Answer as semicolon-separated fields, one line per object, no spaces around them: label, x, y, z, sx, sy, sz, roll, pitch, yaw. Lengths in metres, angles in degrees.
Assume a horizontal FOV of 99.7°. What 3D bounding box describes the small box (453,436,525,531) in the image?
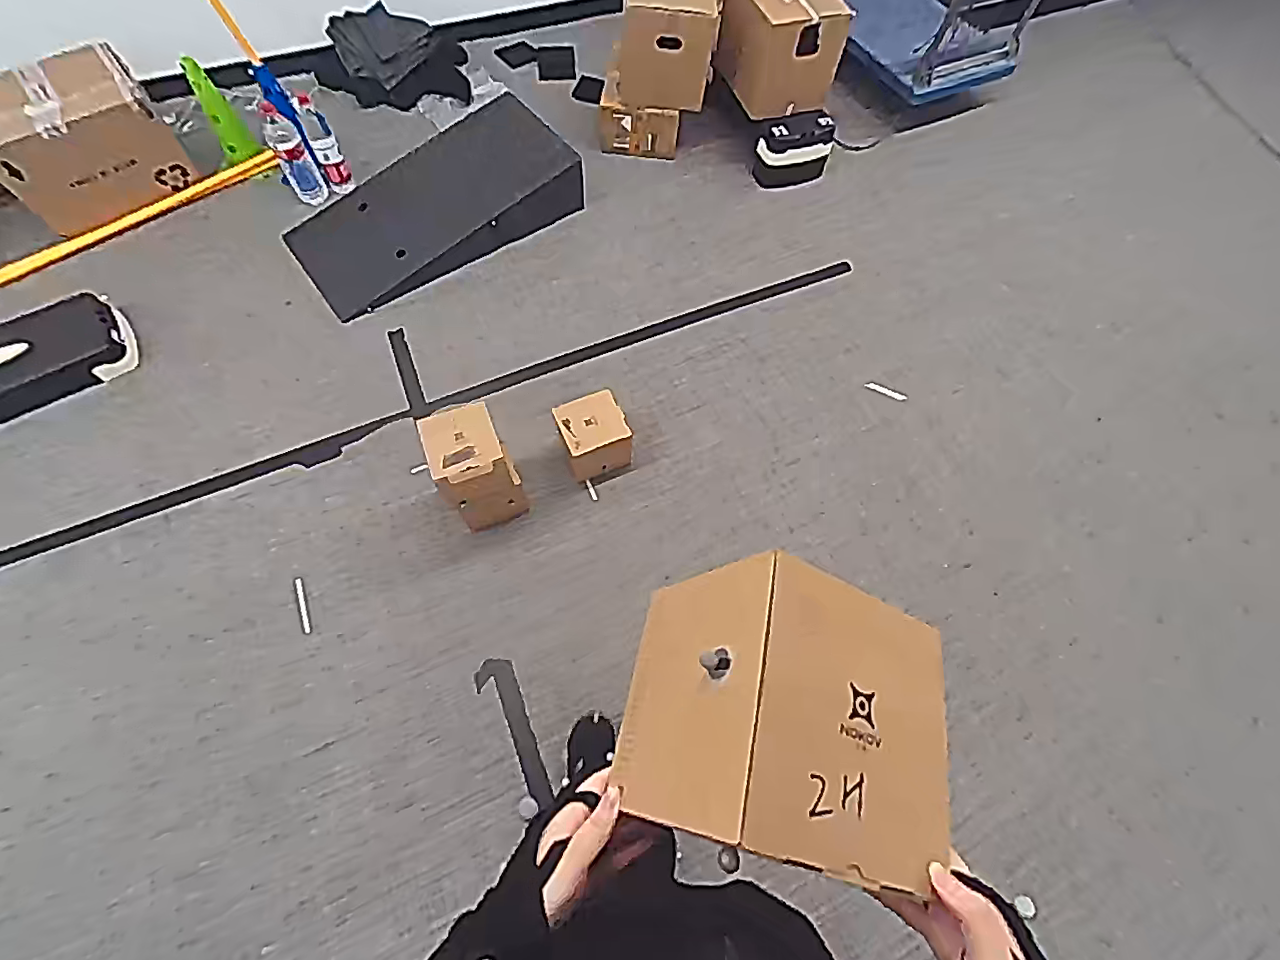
small box;-0.420;0.014;1.458;0.179;0.176;0.168;-23;67;-13

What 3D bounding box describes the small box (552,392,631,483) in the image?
small box;-0.138;-0.117;1.536;0.179;0.176;0.168;-21;67;-13

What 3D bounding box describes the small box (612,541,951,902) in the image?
small box;0.098;0.174;0.406;0.168;0.176;0.179;27;58;-18

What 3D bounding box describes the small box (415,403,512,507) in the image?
small box;-0.420;-0.052;1.308;0.168;0.176;0.179;-20;65;-13
